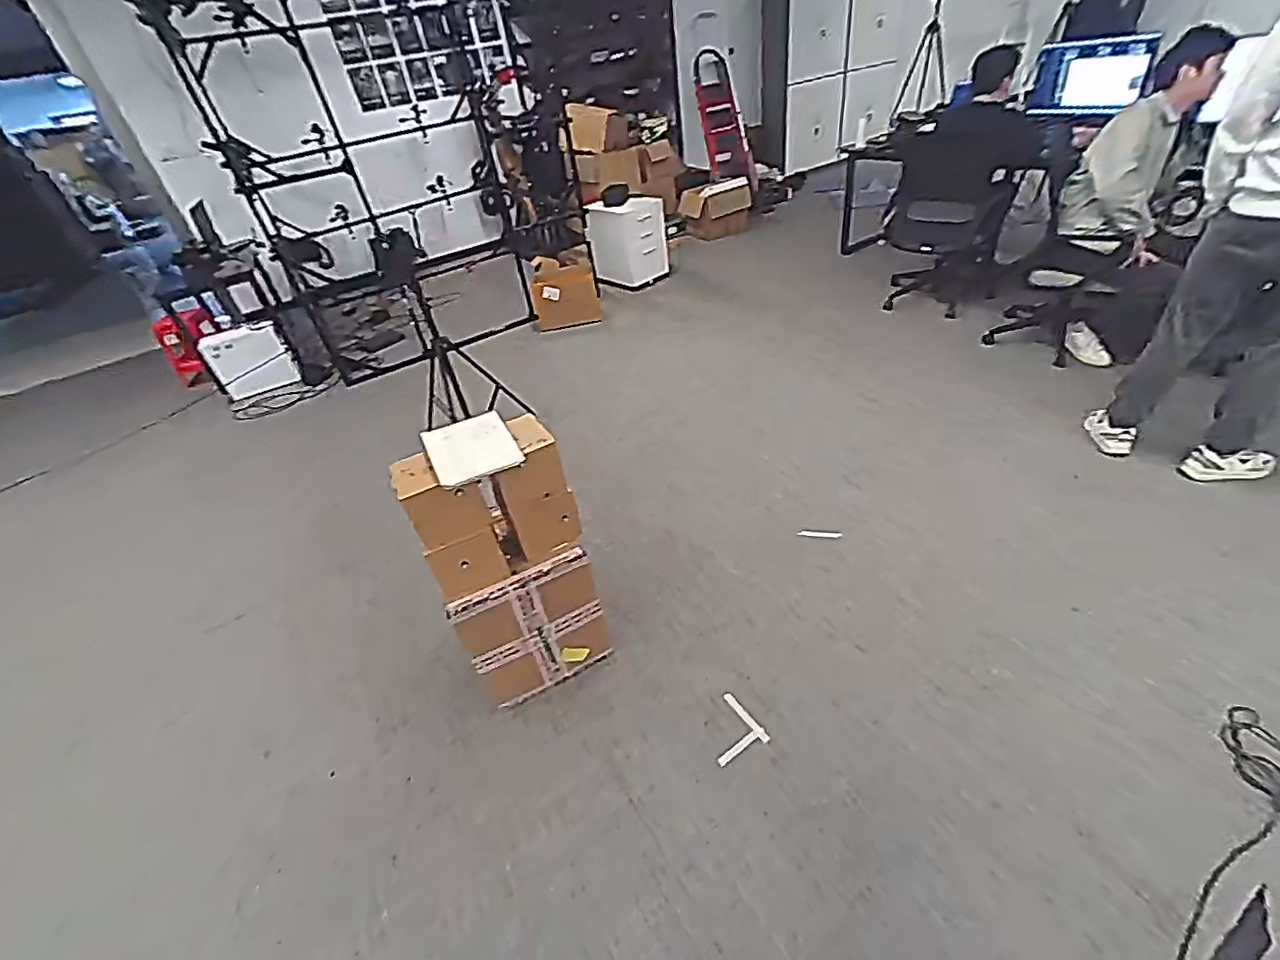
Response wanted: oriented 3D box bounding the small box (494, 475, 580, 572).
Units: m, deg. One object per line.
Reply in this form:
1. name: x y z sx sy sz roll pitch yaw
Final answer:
1. small box: -0.280 0.120 1.511 0.179 0.176 0.168 -27 42 -21

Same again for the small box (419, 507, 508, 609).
1. small box: -0.464 0.208 1.441 0.179 0.176 0.168 -22 41 -13
